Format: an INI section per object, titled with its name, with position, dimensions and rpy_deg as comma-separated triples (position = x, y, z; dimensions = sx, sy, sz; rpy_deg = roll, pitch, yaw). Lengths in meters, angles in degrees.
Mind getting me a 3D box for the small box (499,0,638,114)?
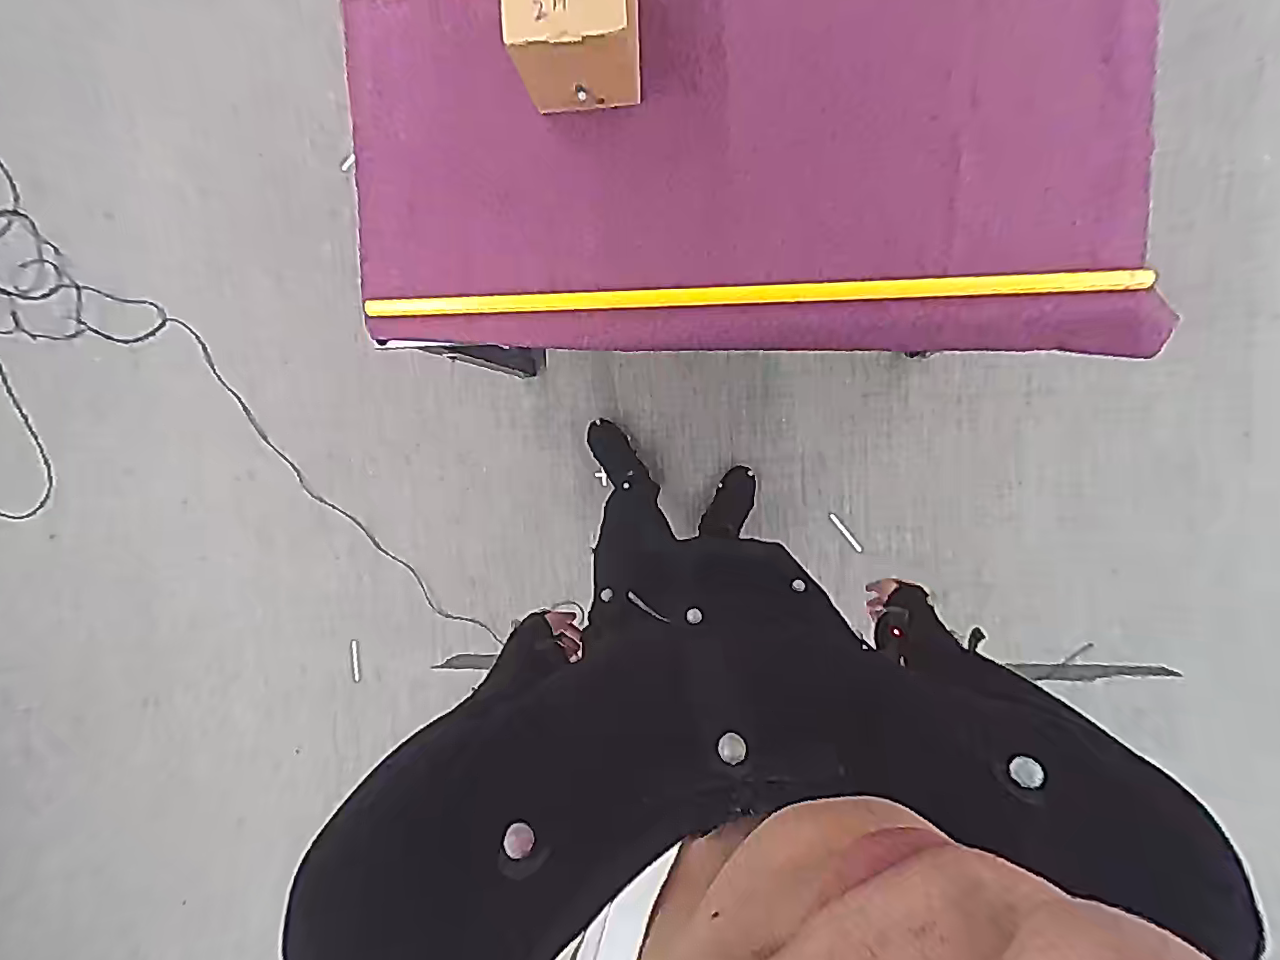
[small box]
position = -0.094, -0.665, 0.771
dimensions = 0.168, 0.176, 0.179
rpy_deg = -1, 97, 6
